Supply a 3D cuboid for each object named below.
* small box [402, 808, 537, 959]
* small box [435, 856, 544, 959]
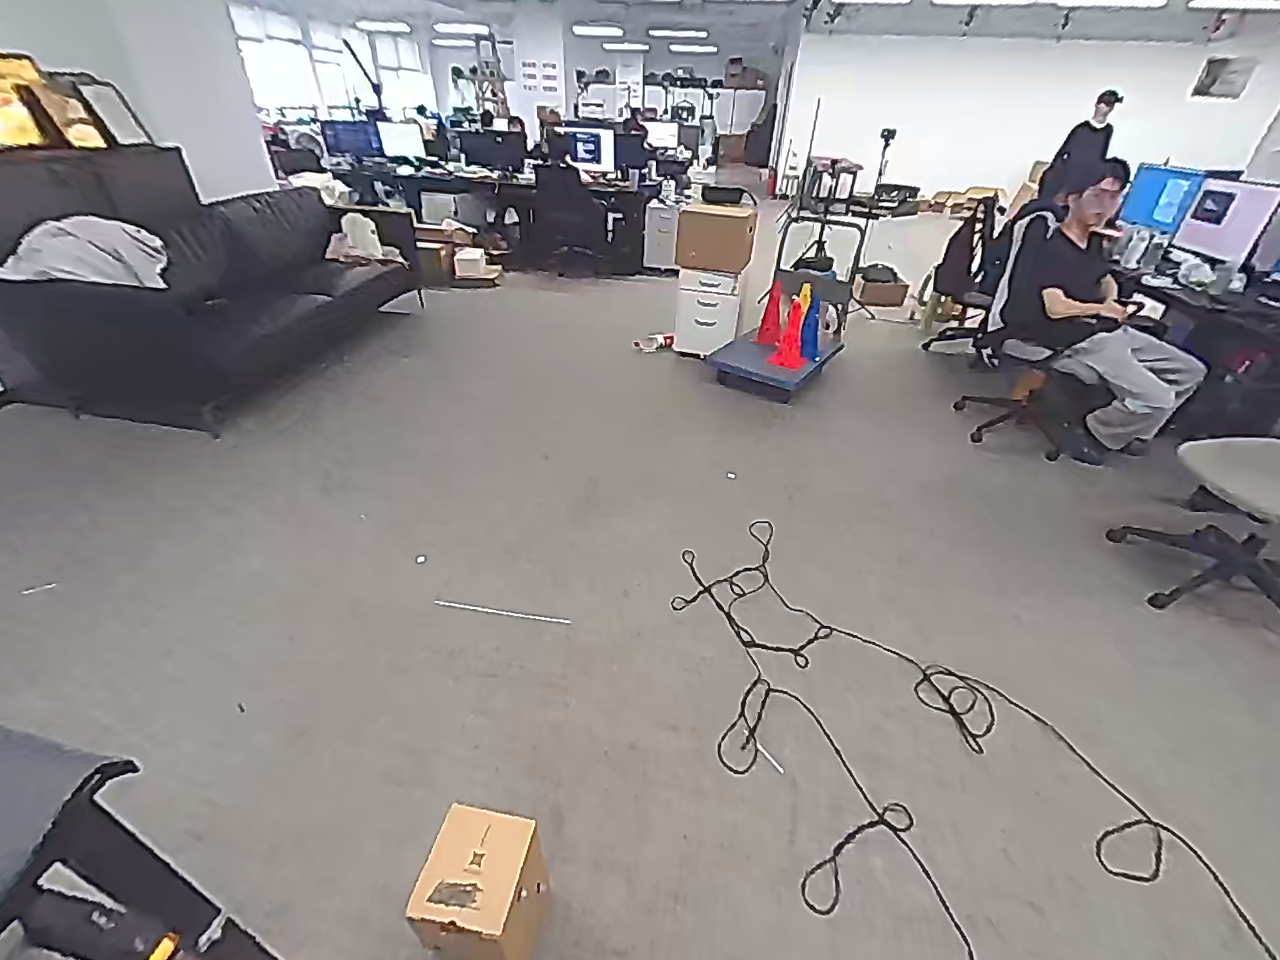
[{"bbox_3d":[-0.287,0.727,0.961,0.168,0.176,0.179,7,34,7],"label":"small box"},{"bbox_3d":[-0.294,0.855,1.063,0.168,0.176,0.179,8,34,9],"label":"small box"}]
